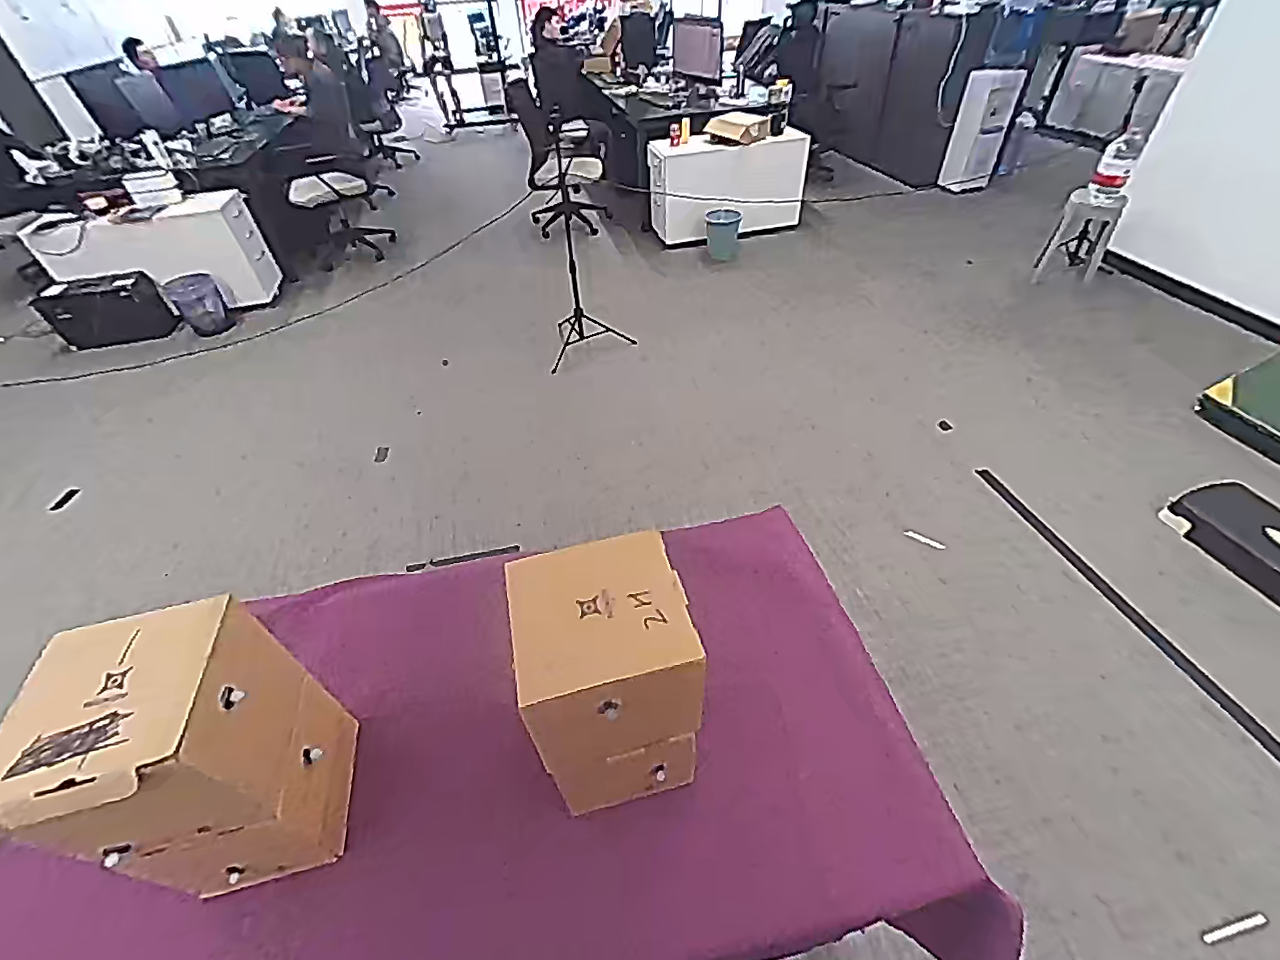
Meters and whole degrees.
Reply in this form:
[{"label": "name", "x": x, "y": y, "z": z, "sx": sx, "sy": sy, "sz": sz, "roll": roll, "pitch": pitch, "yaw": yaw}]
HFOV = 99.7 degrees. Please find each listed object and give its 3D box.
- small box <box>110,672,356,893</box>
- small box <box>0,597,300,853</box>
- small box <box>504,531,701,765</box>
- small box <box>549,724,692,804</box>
[{"label": "small box", "x": -0.475, "y": 0.373, "z": 0.670, "sx": 0.168, "sy": 0.176, "sz": 0.179, "roll": -12, "pitch": 45, "yaw": -9}, {"label": "small box", "x": -0.483, "y": 0.255, "z": 0.557, "sx": 0.168, "sy": 0.176, "sz": 0.179, "roll": -13, "pitch": 45, "yaw": -10}, {"label": "small box", "x": -0.041, "y": 0.186, "z": 0.595, "sx": 0.179, "sy": 0.176, "sz": 0.168, "roll": -12, "pitch": 45, "yaw": -9}, {"label": "small box", "x": -0.033, "y": 0.301, "z": 0.712, "sx": 0.168, "sy": 0.176, "sz": 0.179, "roll": -11, "pitch": 44, "yaw": -8}]
